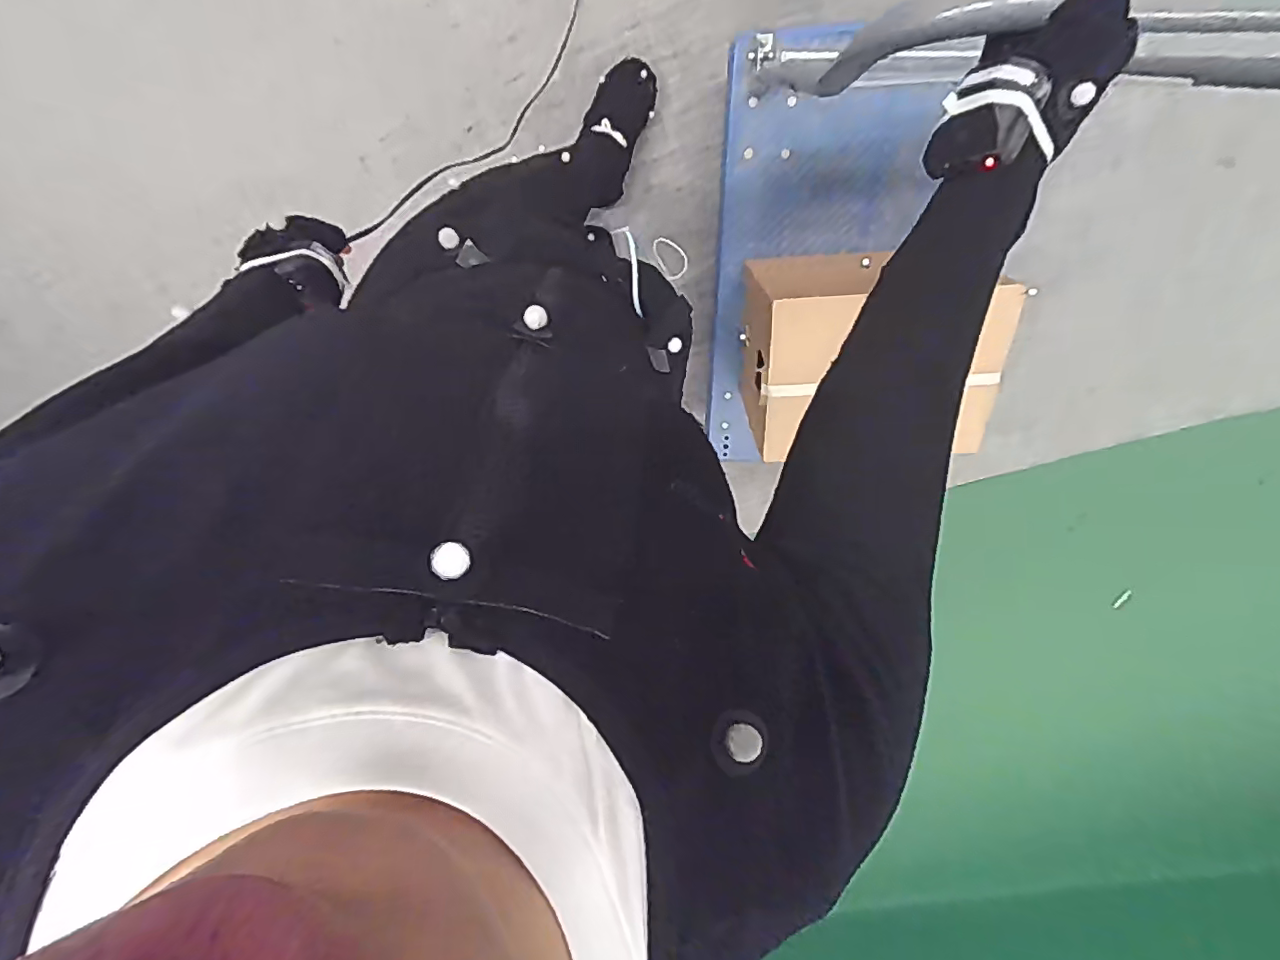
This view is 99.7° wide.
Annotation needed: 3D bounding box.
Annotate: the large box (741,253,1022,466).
[{"bbox_3d":[0.421,-0.248,1.070,0.408,0.320,0.320,-3,124,2],"label":"large box"}]
